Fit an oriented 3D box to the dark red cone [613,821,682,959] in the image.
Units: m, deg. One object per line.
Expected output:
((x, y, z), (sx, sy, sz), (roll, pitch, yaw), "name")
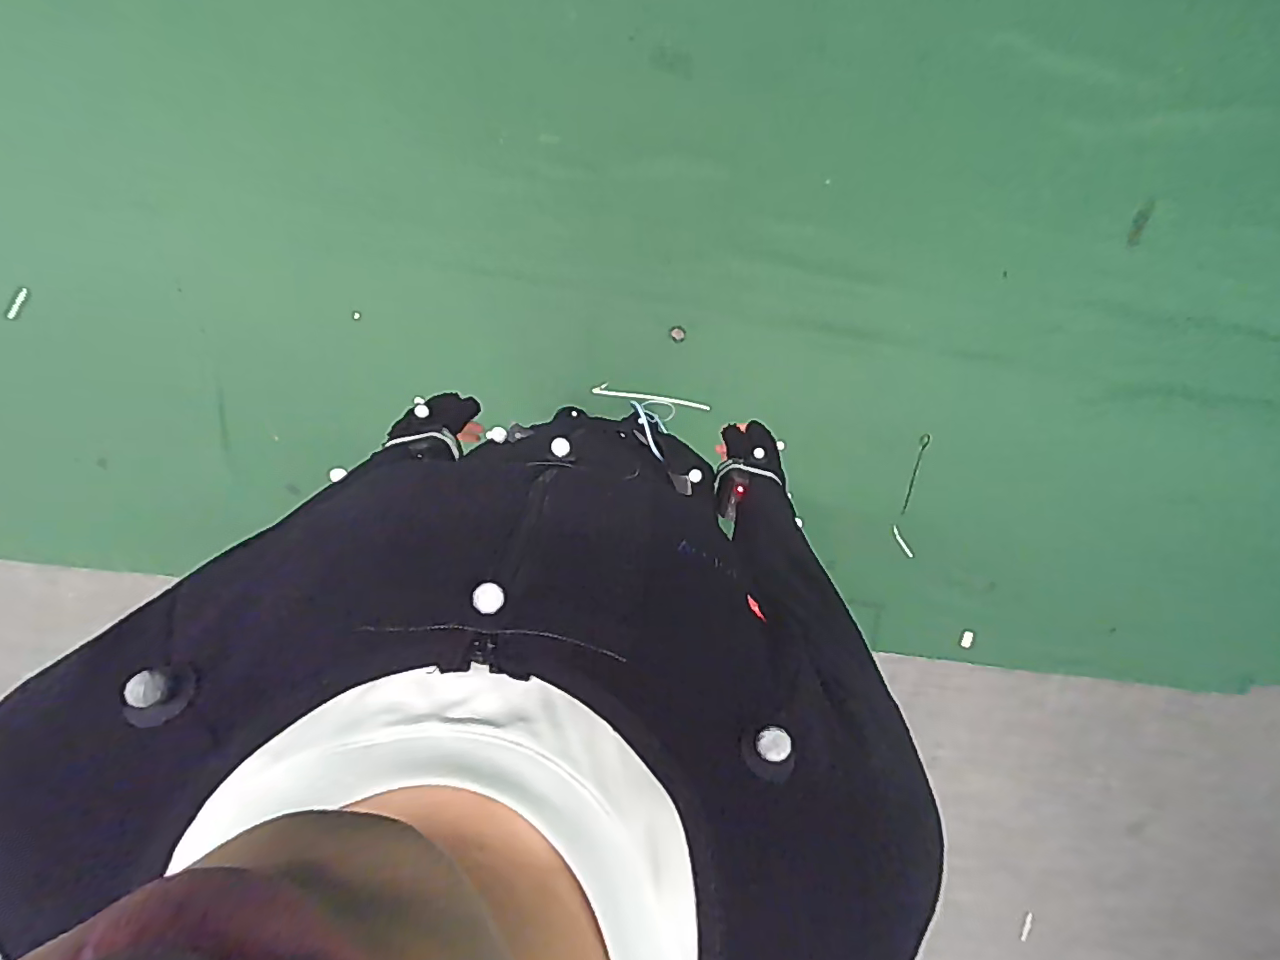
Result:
((0.028, 1.133, 1.455), (0.202, 0.394, 0.201), (2, 97, -2), "dark red cone")

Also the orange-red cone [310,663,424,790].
((-0.720, 0.652, 1.380), (0.198, 0.360, 0.199), (8, 99, -2), "orange-red cone")
